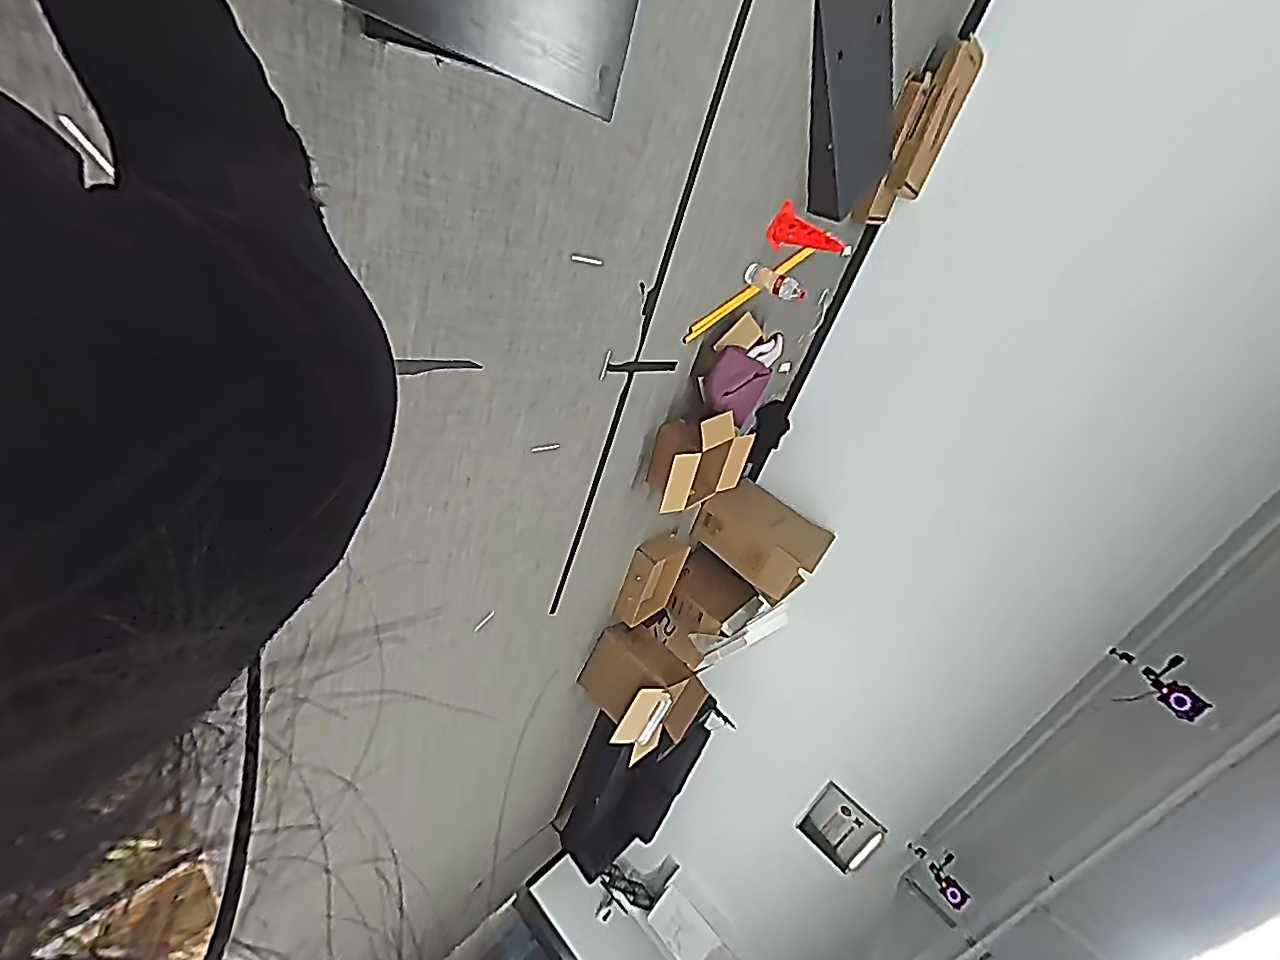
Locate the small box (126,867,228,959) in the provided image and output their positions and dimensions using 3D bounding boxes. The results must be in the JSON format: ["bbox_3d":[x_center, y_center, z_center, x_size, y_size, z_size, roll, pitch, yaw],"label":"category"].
[{"bbox_3d":[-1.222,1.185,1.431,0.168,0.176,0.179,-19,132,-49],"label":"small box"}]
